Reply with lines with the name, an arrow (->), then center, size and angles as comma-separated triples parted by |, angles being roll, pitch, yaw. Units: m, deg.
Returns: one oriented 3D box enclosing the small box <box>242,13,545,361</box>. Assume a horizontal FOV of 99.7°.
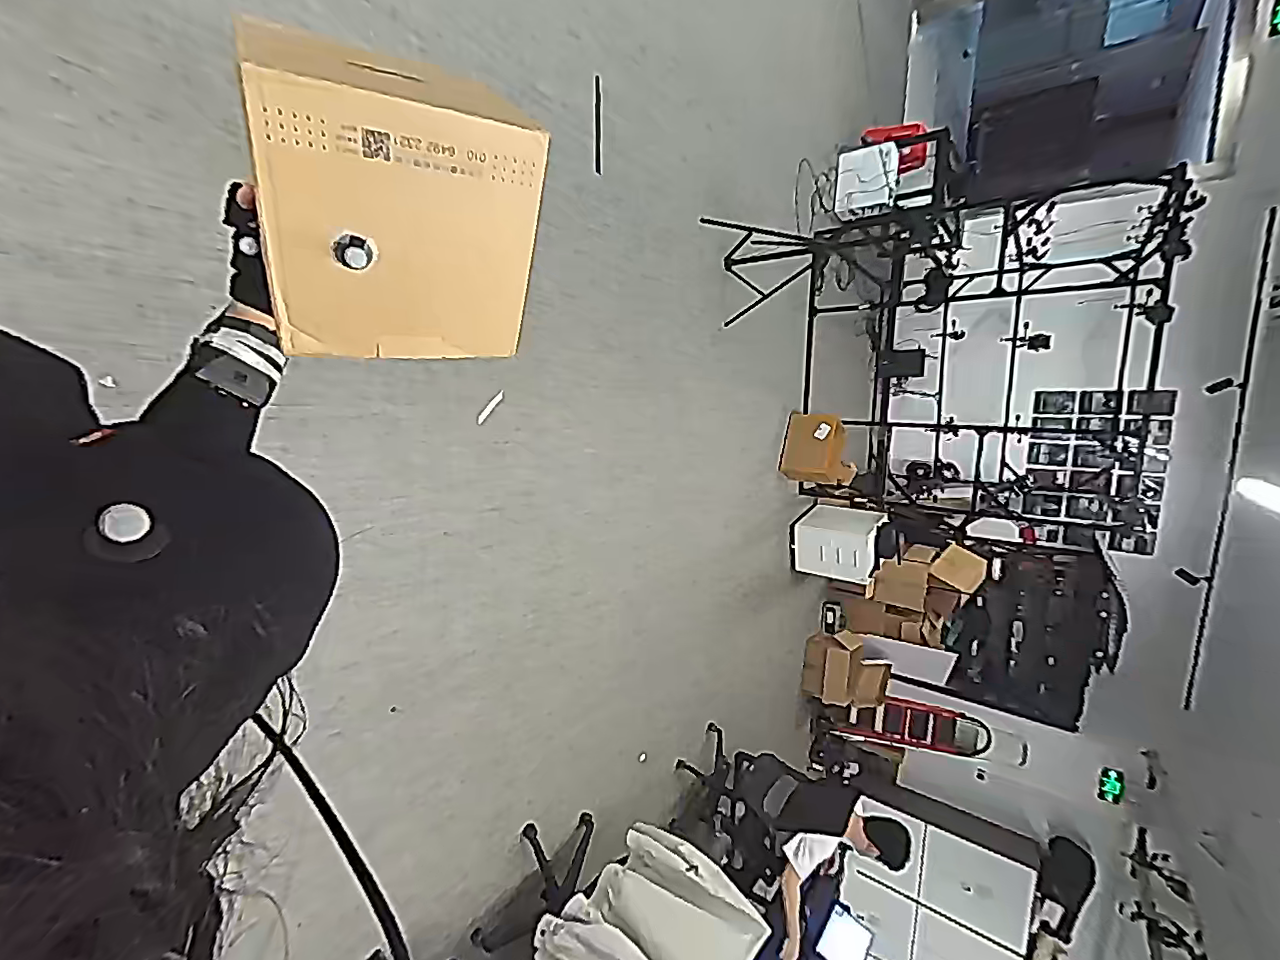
small box -> -0.181, -0.206, 0.398 | 0.168, 0.179, 0.176 | -6, 136, -33
